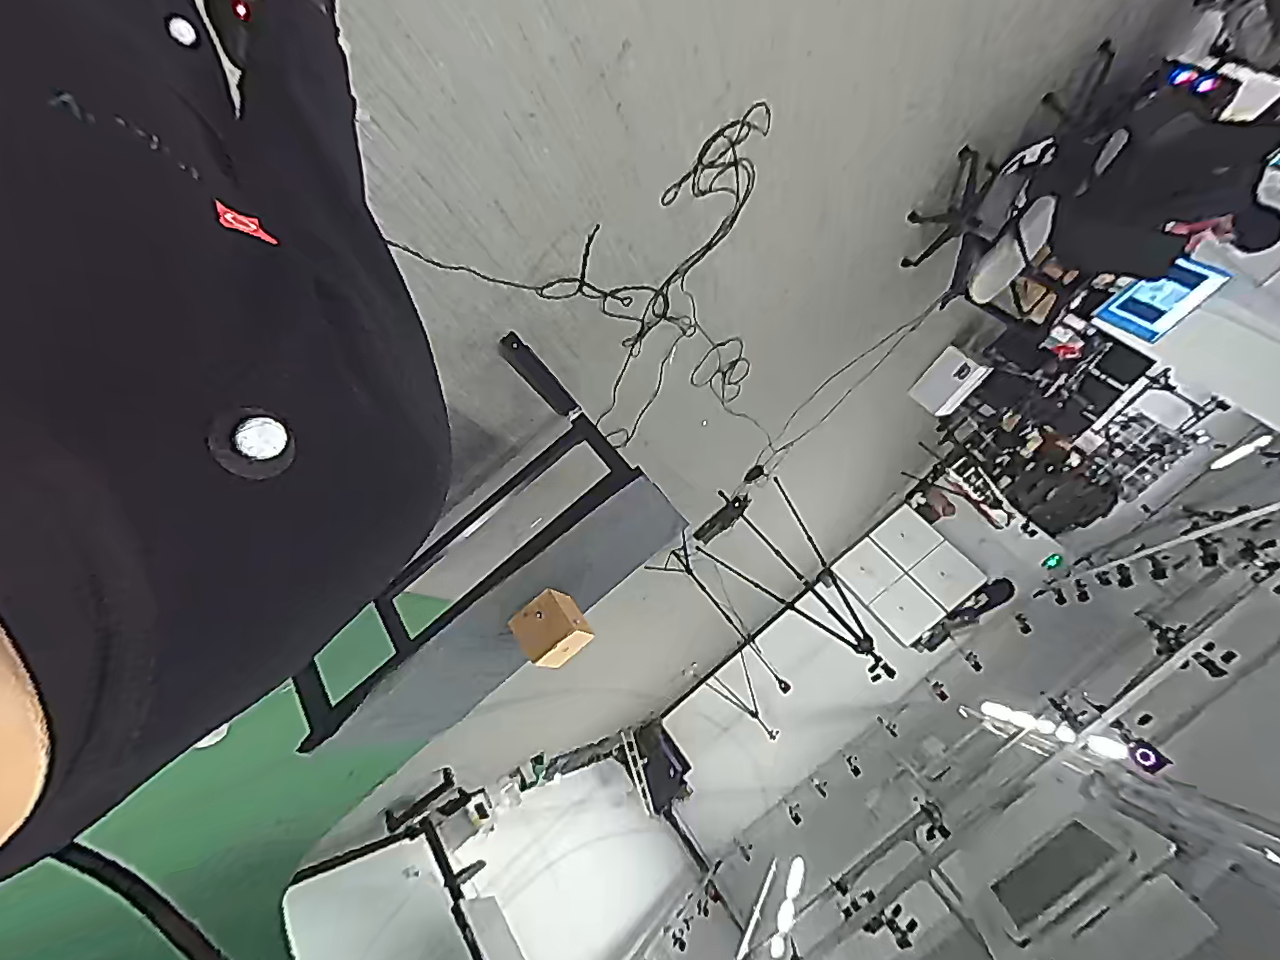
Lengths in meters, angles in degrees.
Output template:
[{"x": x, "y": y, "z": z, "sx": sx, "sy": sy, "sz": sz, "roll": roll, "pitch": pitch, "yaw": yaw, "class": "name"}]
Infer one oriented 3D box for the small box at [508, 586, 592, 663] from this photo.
[{"x": -0.284, "y": 0.458, "z": 1.715, "sx": 0.168, "sy": 0.176, "sz": 0.179, "roll": -40, "pitch": 153, "yaw": 0, "class": "small box"}]
